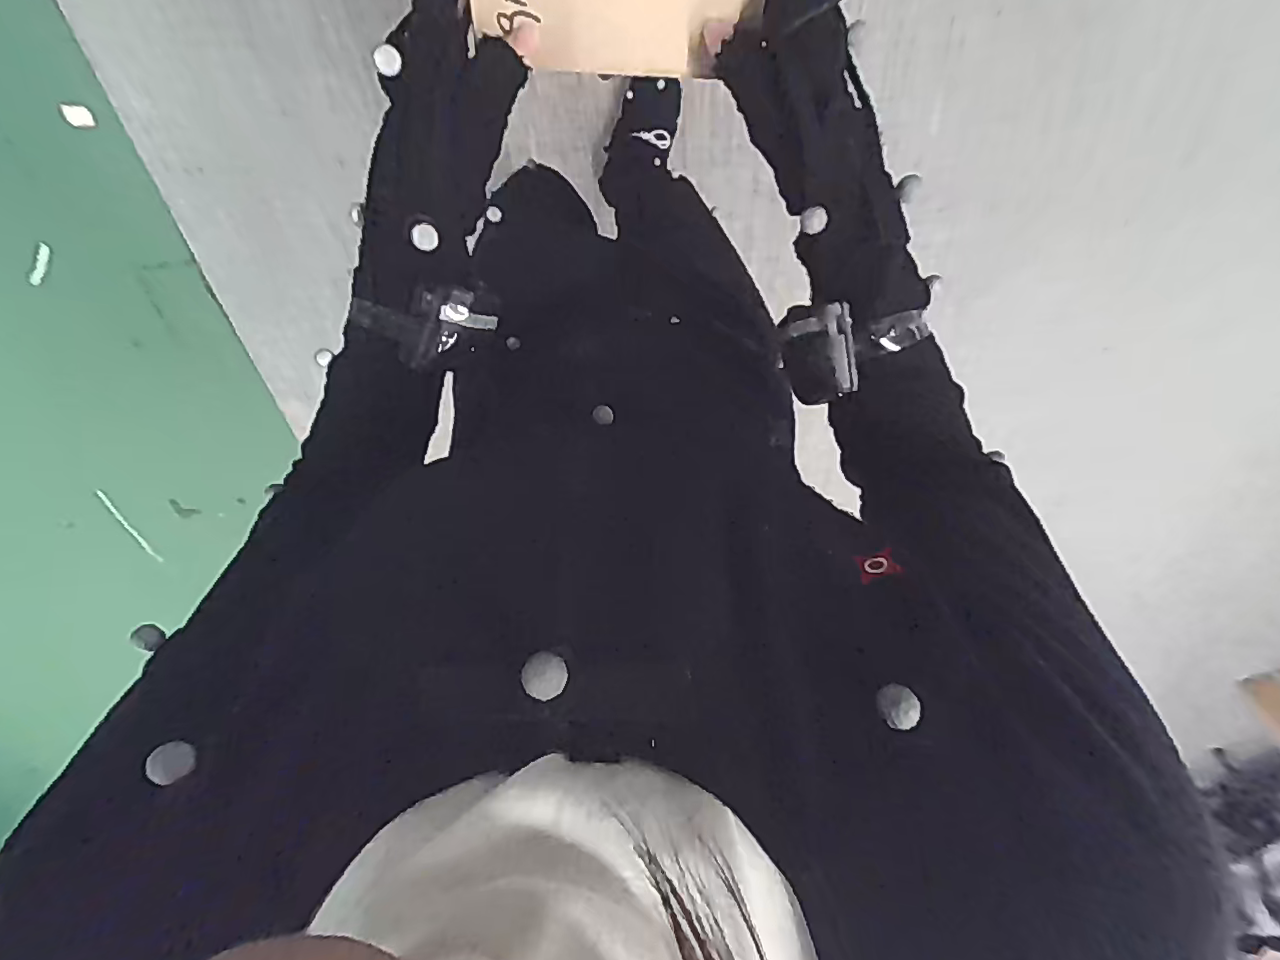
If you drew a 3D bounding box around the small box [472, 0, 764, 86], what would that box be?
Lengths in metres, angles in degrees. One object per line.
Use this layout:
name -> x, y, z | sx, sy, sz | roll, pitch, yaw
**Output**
small box -> -0.020, -0.368, 0.343 | 0.179, 0.176, 0.168 | -3, 133, -8
